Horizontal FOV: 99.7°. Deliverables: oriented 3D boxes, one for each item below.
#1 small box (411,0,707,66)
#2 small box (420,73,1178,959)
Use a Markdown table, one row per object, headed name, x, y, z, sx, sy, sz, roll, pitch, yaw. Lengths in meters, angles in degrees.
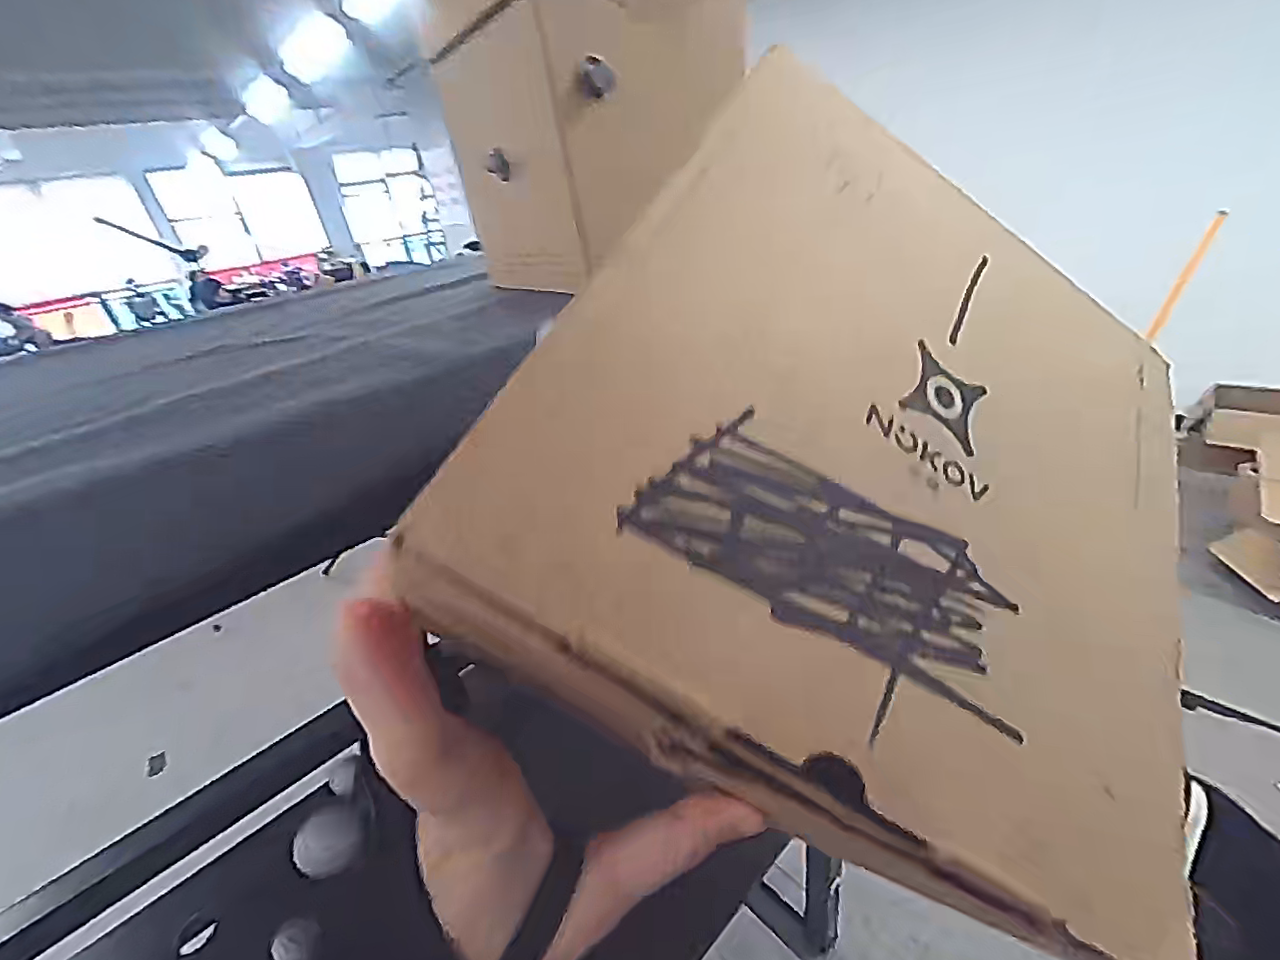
| name | x | y | z | sx | sy | sz | roll | pitch | yaw |
| --- | --- | --- | --- | --- | --- | --- | --- | --- | --- |
| small box | -0.065 | -0.393 | 0.351 | 0.168 | 0.176 | 0.179 | -29 | 34 | -28 |
| small box | 0.043 | 0.012 | 0.206 | 0.168 | 0.176 | 0.179 | 32 | 63 | -7 |
